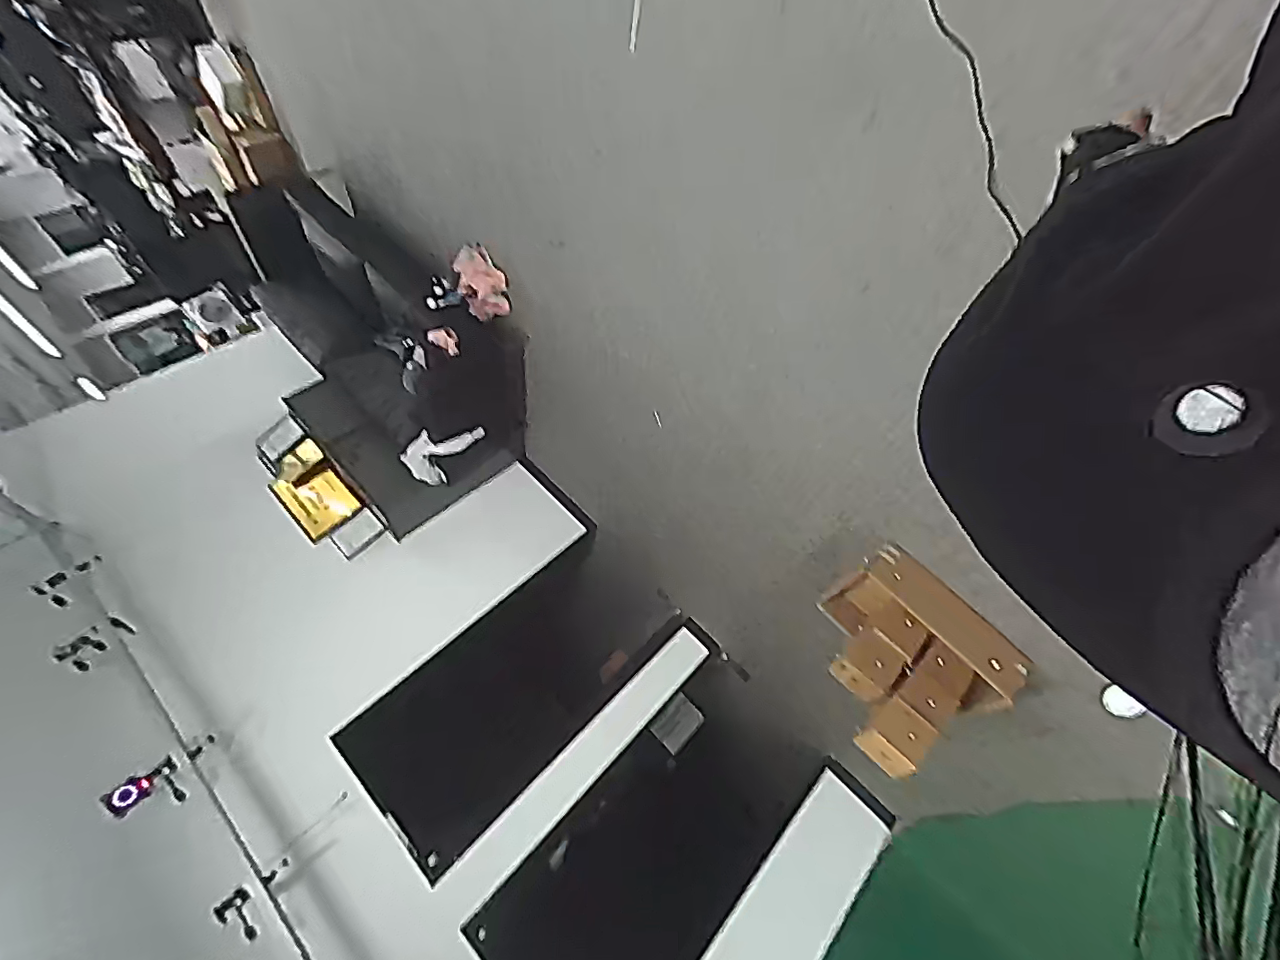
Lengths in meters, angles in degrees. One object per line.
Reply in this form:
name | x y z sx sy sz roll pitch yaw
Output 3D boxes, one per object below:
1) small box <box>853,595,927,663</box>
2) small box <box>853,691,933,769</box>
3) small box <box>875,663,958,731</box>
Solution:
small box | 0.979 0.579 2.107 0.168 0.176 0.179 42 150 14
small box | 0.887 0.867 1.883 0.168 0.176 0.179 41 149 22
small box | 1.005 0.794 1.968 0.179 0.176 0.168 42 149 18
